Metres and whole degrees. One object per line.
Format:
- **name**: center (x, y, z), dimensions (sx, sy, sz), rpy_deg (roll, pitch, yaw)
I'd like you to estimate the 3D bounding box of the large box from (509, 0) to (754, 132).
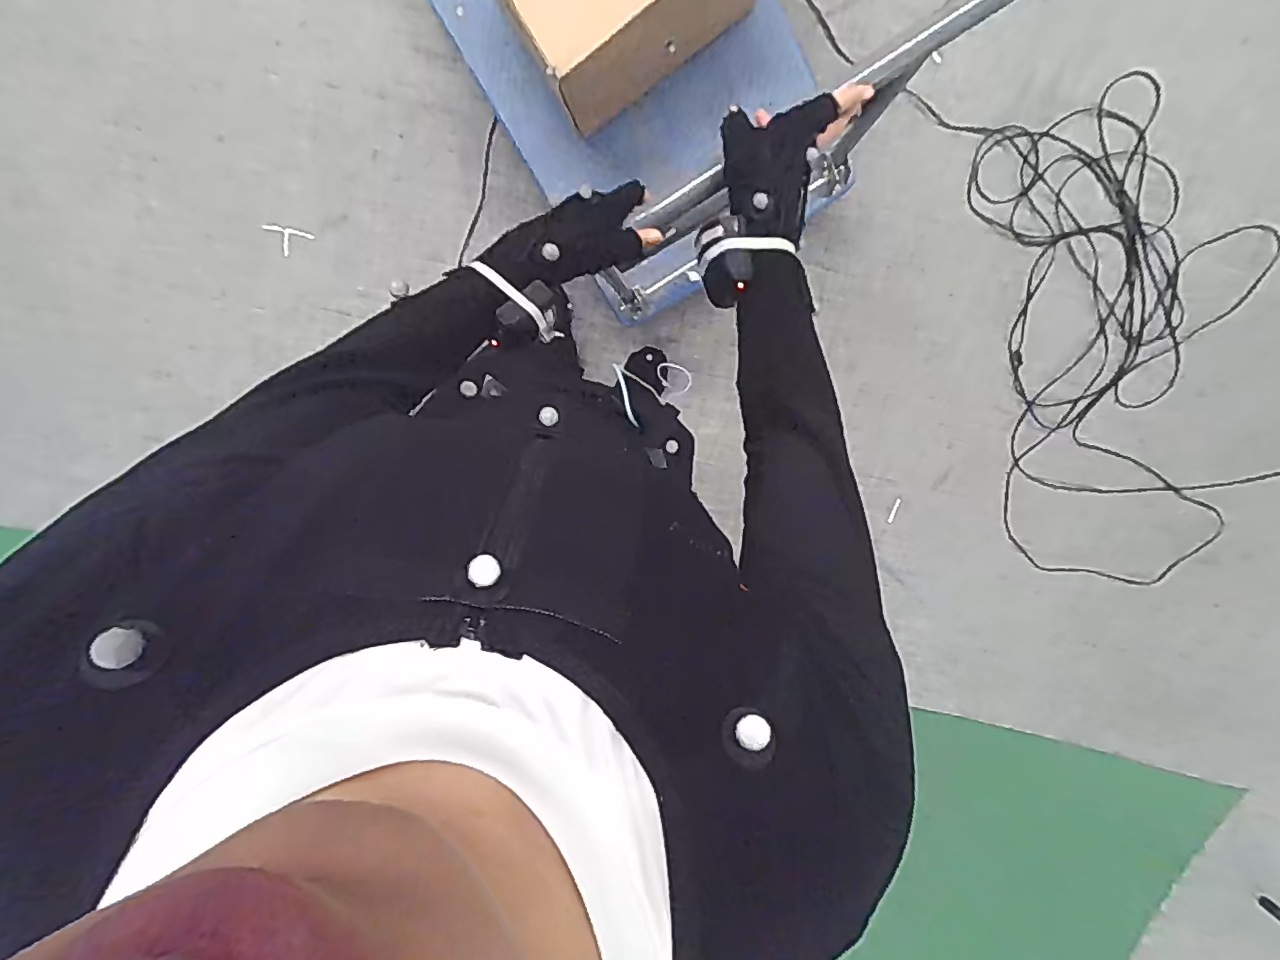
- **large box**: center (-0.025, -0.889, 0.898), dimensions (0.408, 0.320, 0.320), rpy_deg (-32, 103, 12)
